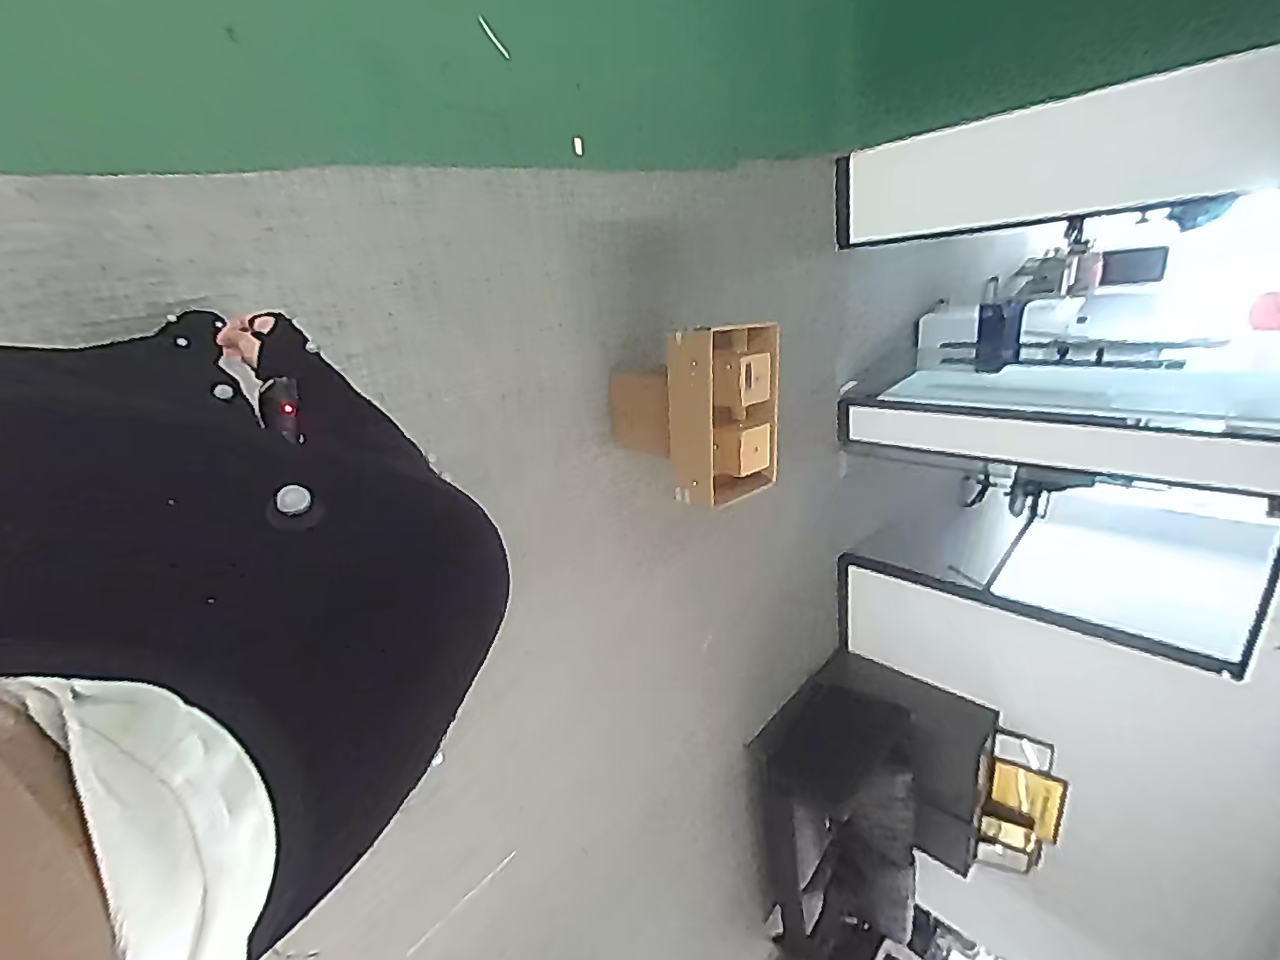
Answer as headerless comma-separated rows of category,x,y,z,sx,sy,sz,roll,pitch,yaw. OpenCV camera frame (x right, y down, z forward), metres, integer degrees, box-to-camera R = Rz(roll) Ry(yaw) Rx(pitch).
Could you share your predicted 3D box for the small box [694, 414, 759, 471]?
small box,0.320,-0.145,2.006,0.179,0.176,0.168,-19,115,-40
